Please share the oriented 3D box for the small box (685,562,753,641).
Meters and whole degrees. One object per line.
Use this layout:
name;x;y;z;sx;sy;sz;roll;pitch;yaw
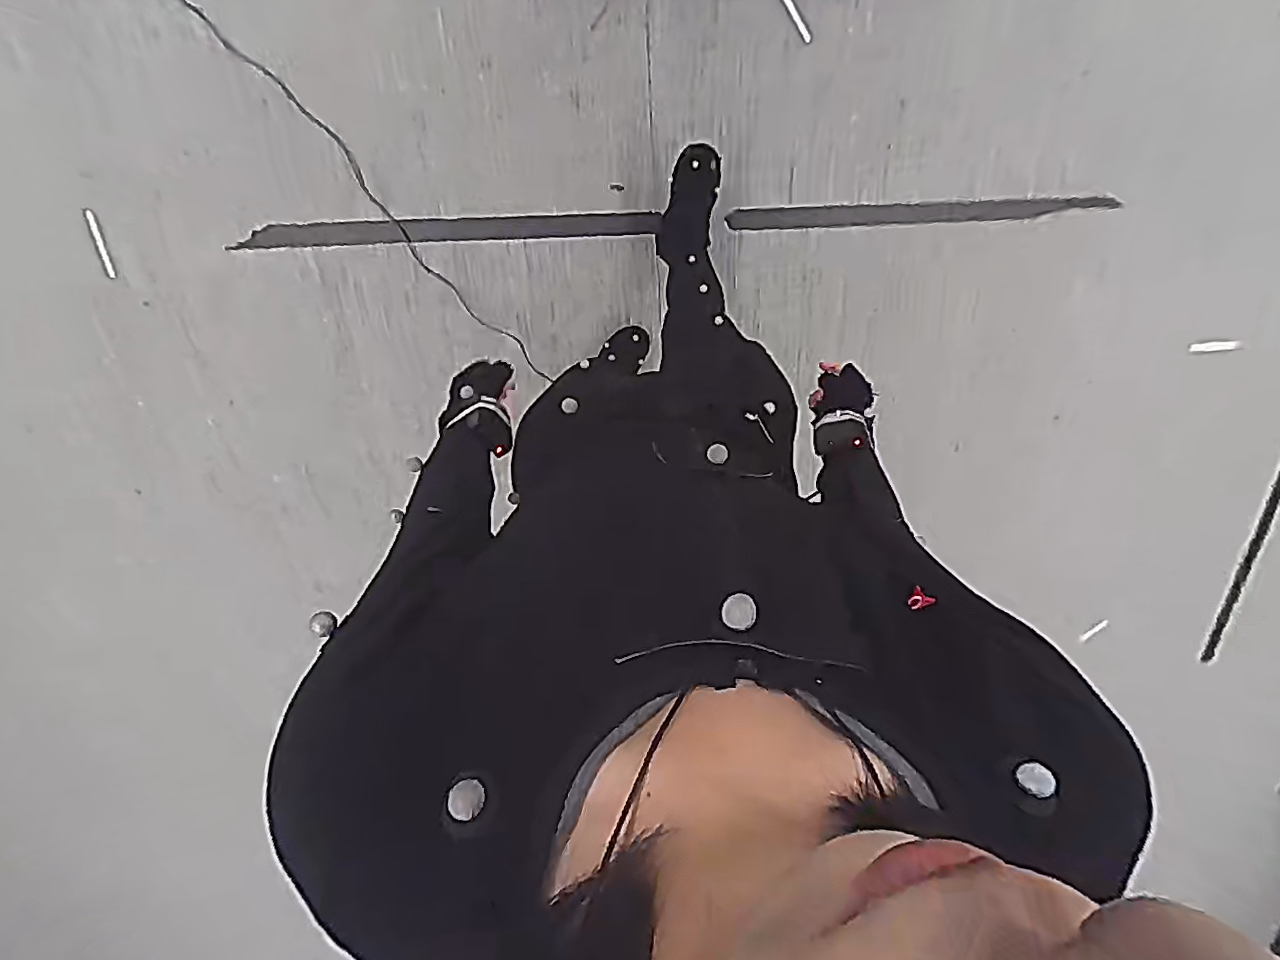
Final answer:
small box;0.234;0.368;1.652;0.168;0.176;0.179;-2;112;-7
